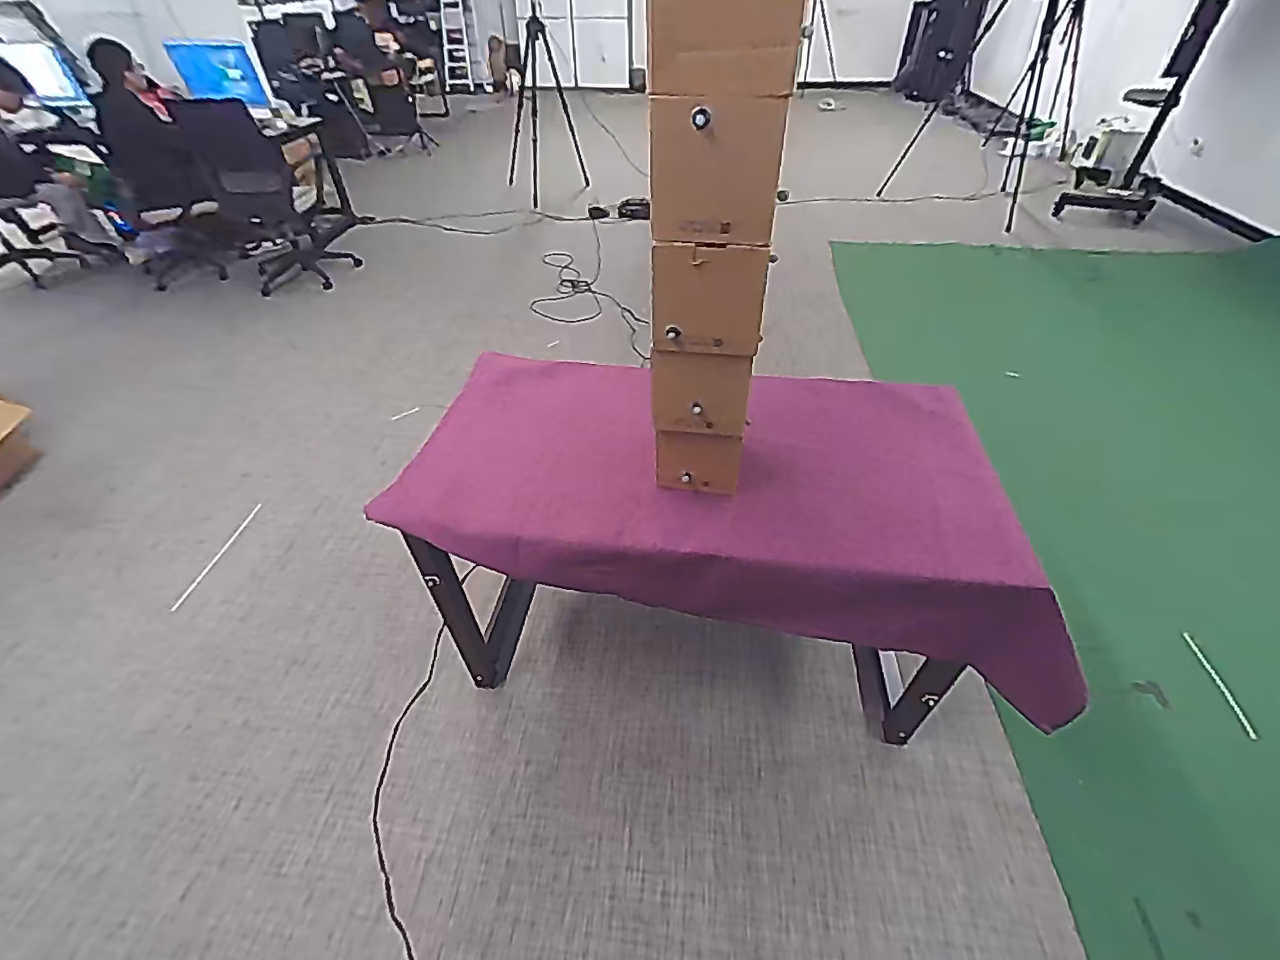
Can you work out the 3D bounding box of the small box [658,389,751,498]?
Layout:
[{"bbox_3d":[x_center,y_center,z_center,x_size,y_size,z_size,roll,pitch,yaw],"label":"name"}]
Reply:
[{"bbox_3d":[0.129,-0.090,1.100,0.168,0.176,0.179,7,44,10],"label":"small box"}]

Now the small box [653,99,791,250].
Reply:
[{"bbox_3d":[0.113,-0.437,0.753,0.168,0.176,0.179,7,43,10],"label":"small box"}]

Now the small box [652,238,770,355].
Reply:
[{"bbox_3d":[0.117,-0.313,0.860,0.168,0.176,0.179,6,43,9],"label":"small box"}]

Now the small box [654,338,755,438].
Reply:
[{"bbox_3d":[0.118,-0.200,0.978,0.168,0.176,0.179,5,43,9],"label":"small box"}]

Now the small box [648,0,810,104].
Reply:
[{"bbox_3d":[0.108,-0.556,0.641,0.179,0.176,0.168,9,44,11],"label":"small box"}]
